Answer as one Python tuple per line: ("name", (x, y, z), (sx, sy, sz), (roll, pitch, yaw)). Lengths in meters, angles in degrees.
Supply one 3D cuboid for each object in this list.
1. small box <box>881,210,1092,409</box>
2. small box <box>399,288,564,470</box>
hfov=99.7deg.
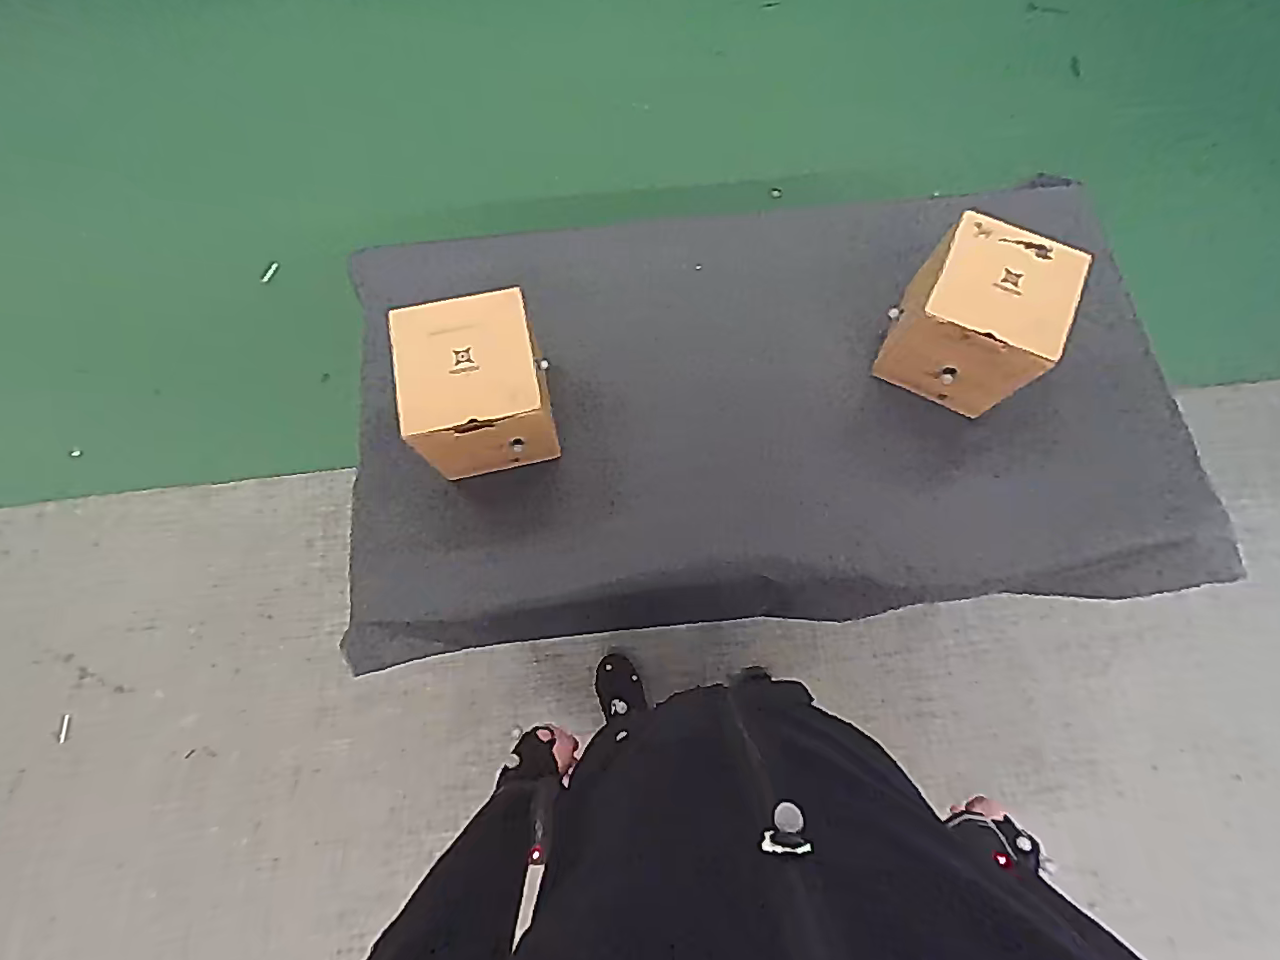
("small box", (0.466, -0.225, 0.756), (0.168, 0.176, 0.179), (26, 77, 7))
("small box", (-0.204, -0.124, 0.732), (0.168, 0.176, 0.179), (-12, 73, -5))
